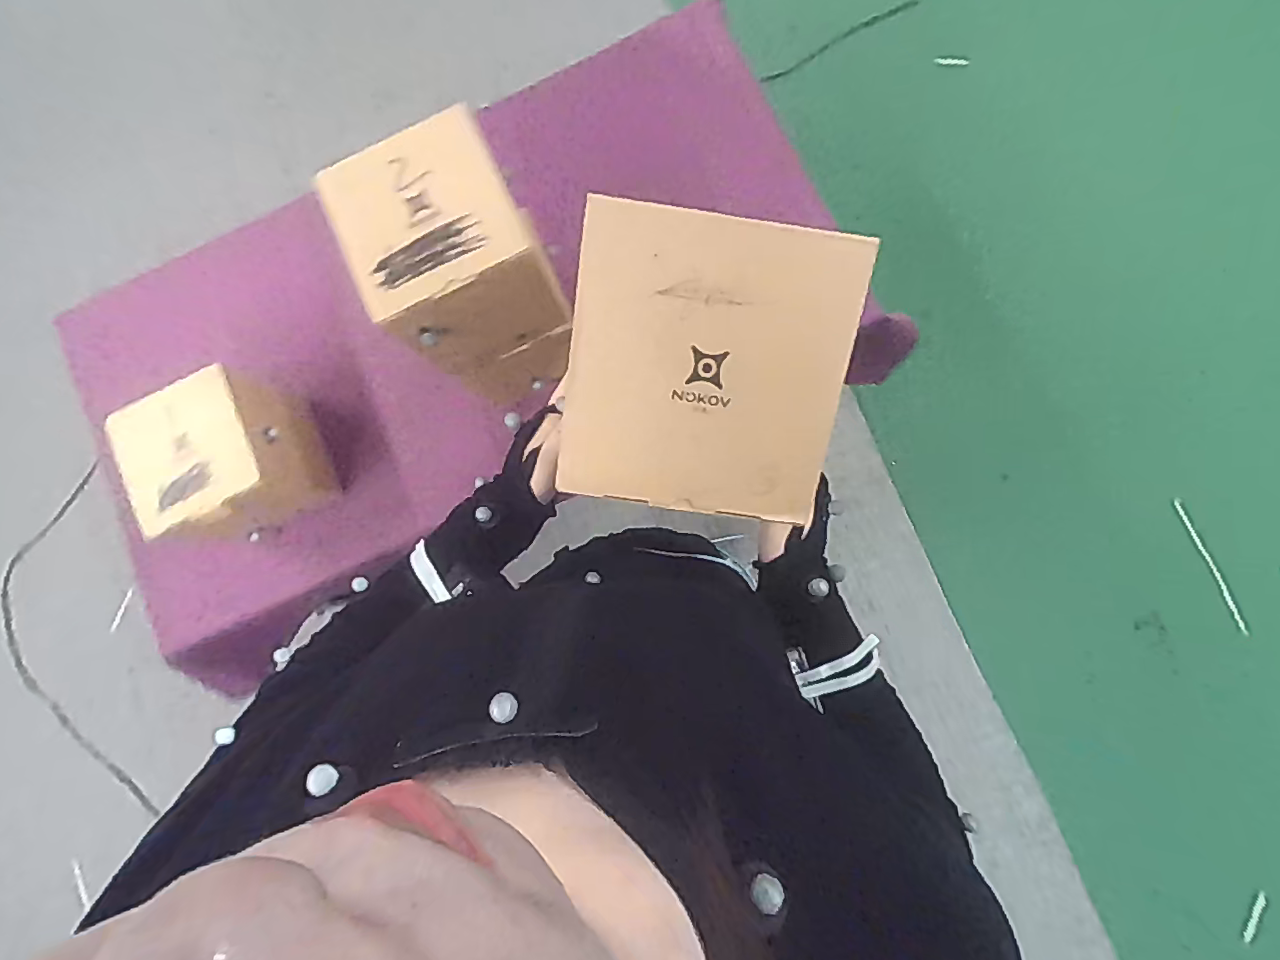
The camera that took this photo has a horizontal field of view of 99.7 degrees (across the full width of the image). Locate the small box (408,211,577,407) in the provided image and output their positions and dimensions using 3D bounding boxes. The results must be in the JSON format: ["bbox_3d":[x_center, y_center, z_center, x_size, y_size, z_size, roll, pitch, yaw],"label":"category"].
[{"bbox_3d":[-0.187,-0.226,0.759,0.168,0.176,0.179,-23,83,2],"label":"small box"}]

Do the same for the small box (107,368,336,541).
[{"bbox_3d":[-0.573,-0.026,0.764,0.168,0.176,0.179,-26,81,0],"label":"small box"}]

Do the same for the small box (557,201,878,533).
[{"bbox_3d":[0.043,-0.083,0.402,0.168,0.176,0.179,9,107,-2],"label":"small box"}]
